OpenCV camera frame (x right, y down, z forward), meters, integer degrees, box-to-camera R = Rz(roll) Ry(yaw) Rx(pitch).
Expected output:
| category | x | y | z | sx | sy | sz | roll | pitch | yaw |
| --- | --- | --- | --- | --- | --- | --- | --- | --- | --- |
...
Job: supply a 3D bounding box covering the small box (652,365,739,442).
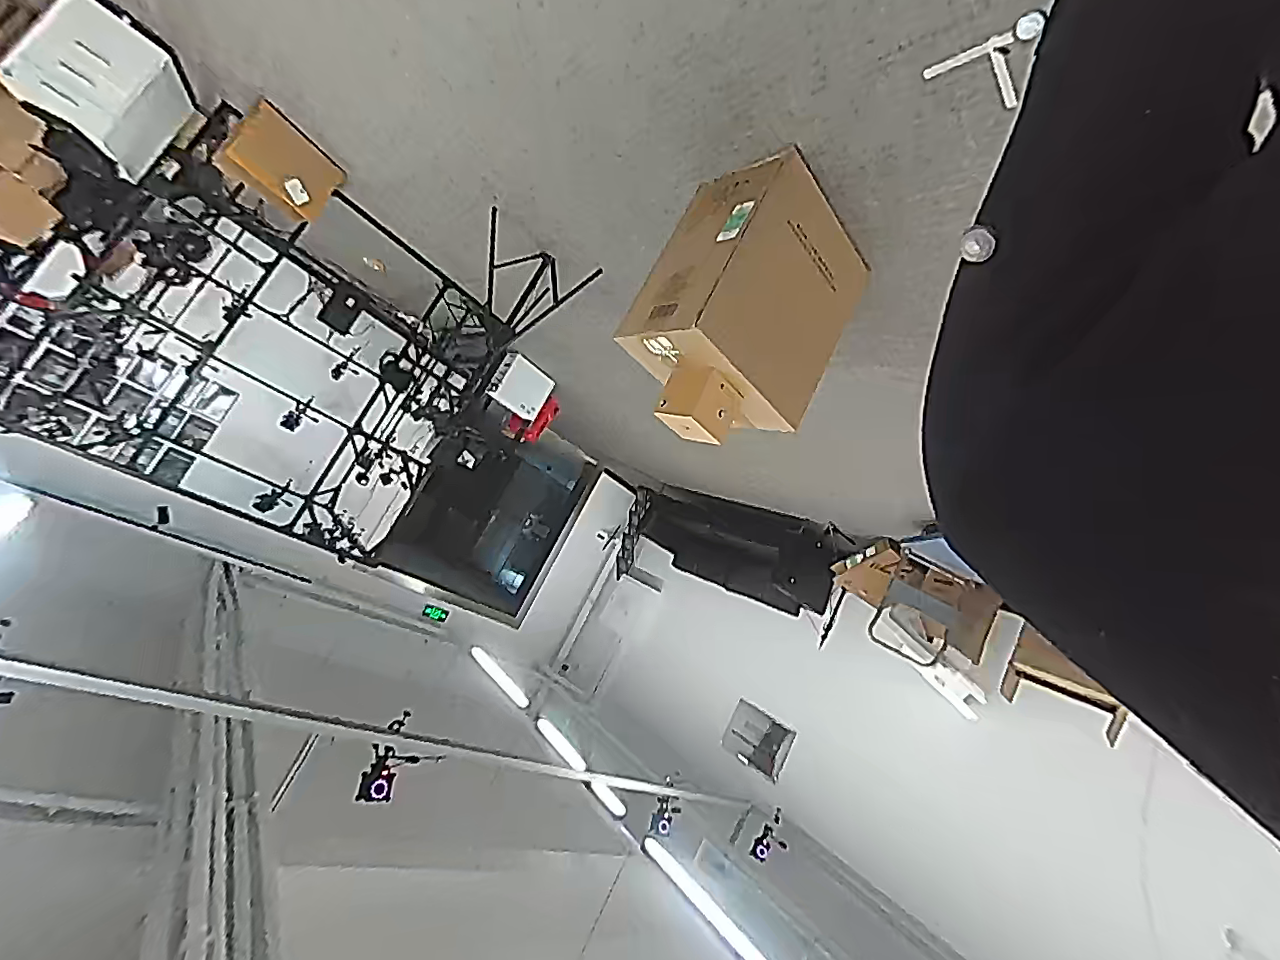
| category | x | y | z | sx | sy | sz | roll | pitch | yaw |
| --- | --- | --- | --- | --- | --- | --- | --- | --- | --- |
| small box | 0.175 | -0.233 | 1.625 | 0.168 | 0.176 | 0.179 | 35 | 168 | -38 |
